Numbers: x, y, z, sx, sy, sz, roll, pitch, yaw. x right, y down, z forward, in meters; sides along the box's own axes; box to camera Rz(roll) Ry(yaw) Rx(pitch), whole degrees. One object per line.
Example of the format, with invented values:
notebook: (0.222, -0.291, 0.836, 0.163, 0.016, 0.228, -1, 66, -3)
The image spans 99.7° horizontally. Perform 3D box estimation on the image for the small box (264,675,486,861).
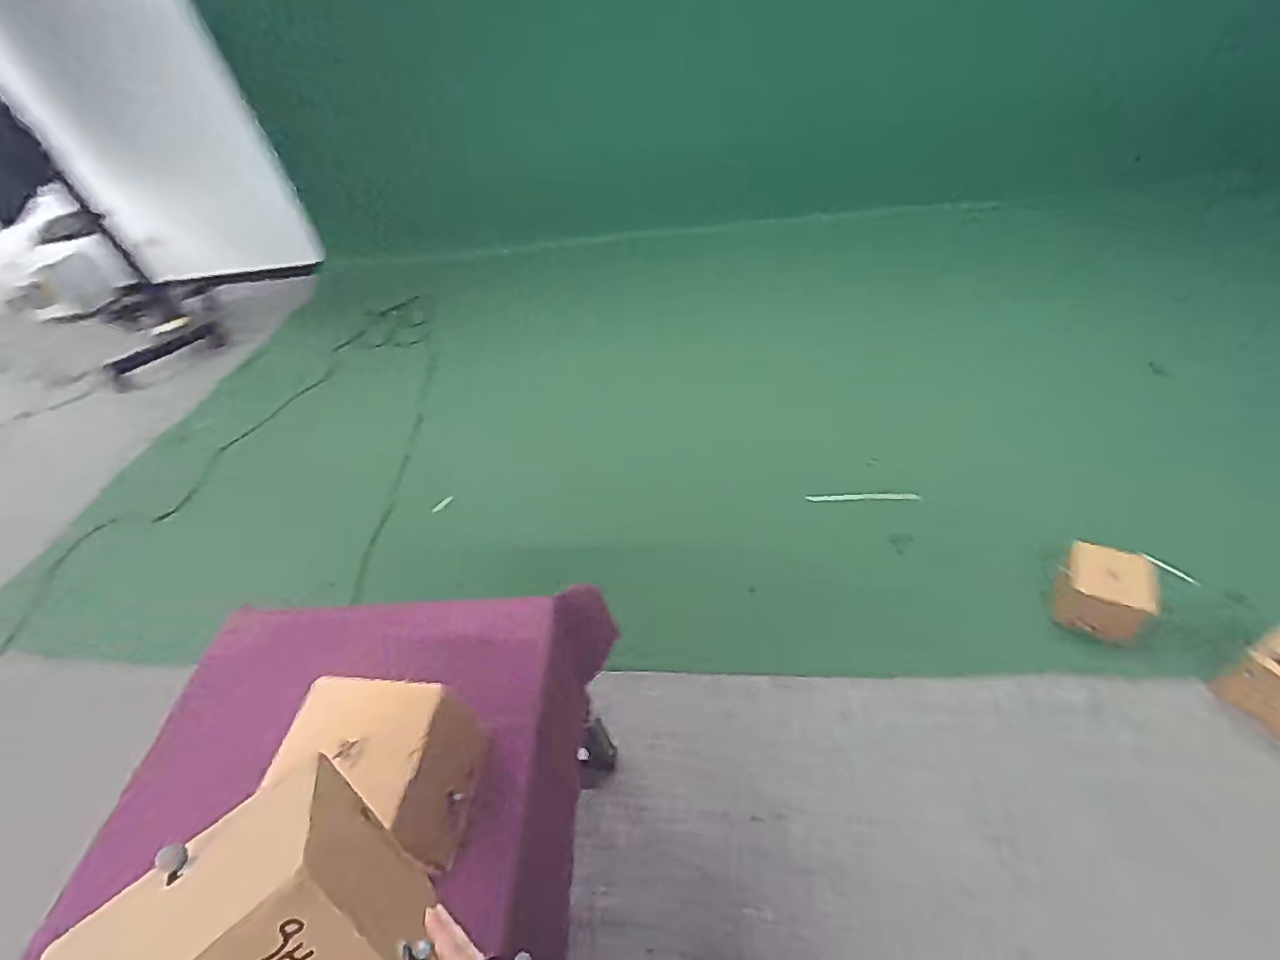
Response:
small box: (-0.321, 0.362, 0.677, 0.179, 0.176, 0.168, 0, 46, 9)

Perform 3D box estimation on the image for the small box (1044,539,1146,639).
small box: (1.232, 0.298, 1.476, 0.168, 0.176, 0.179, 16, 51, 25)

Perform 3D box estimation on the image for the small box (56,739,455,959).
small box: (-0.229, 0.306, 0.335, 0.179, 0.168, 0.176, -33, 12, -25)
